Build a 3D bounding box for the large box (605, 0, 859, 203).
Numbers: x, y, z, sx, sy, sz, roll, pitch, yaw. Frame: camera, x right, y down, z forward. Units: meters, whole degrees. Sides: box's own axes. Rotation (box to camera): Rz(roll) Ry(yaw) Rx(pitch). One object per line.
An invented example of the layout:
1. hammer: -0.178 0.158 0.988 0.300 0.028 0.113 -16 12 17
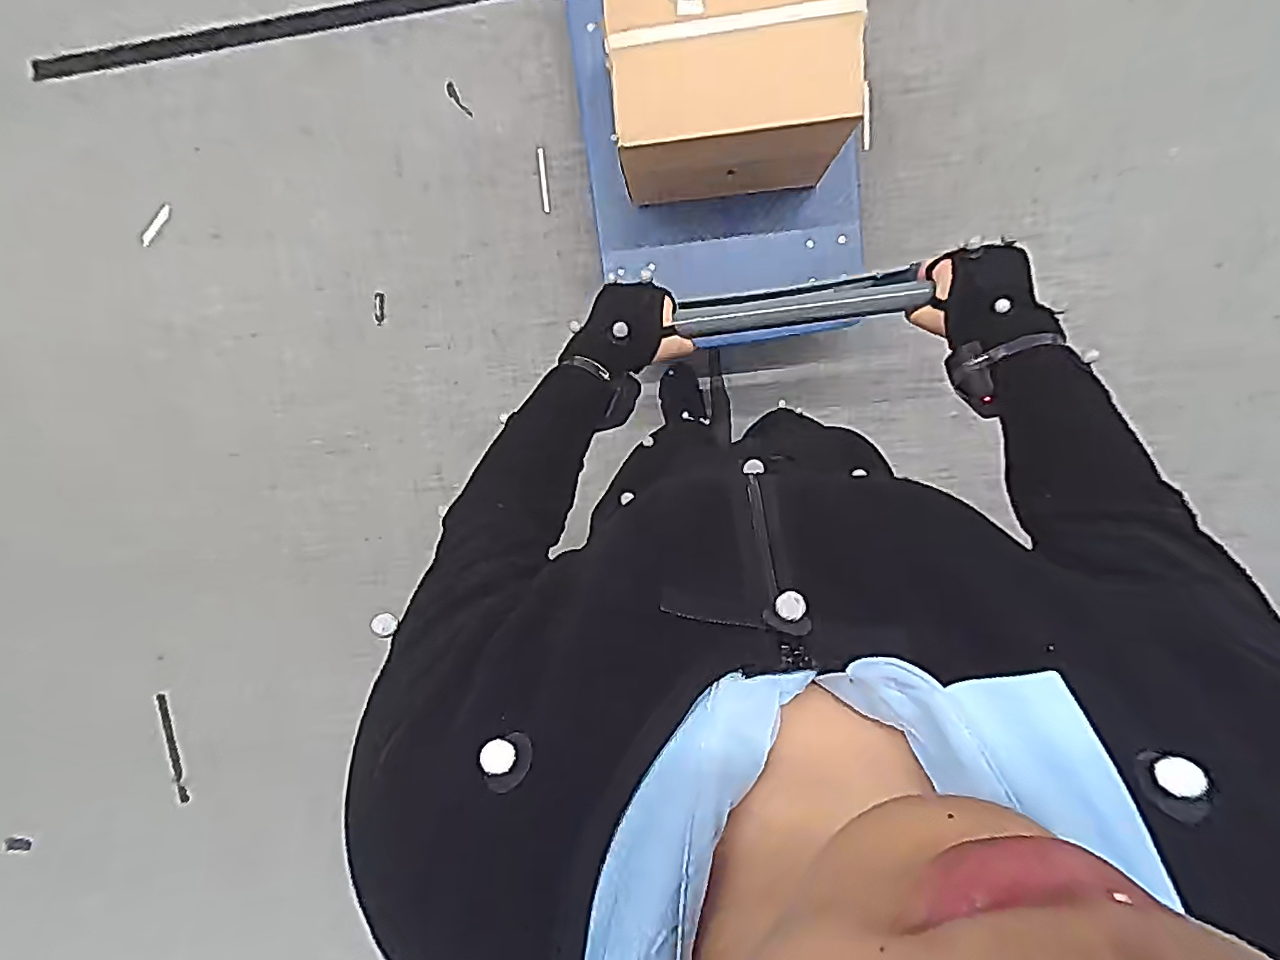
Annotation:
1. large box: 0.161 -0.759 1.024 0.408 0.320 0.320 -5 98 6
